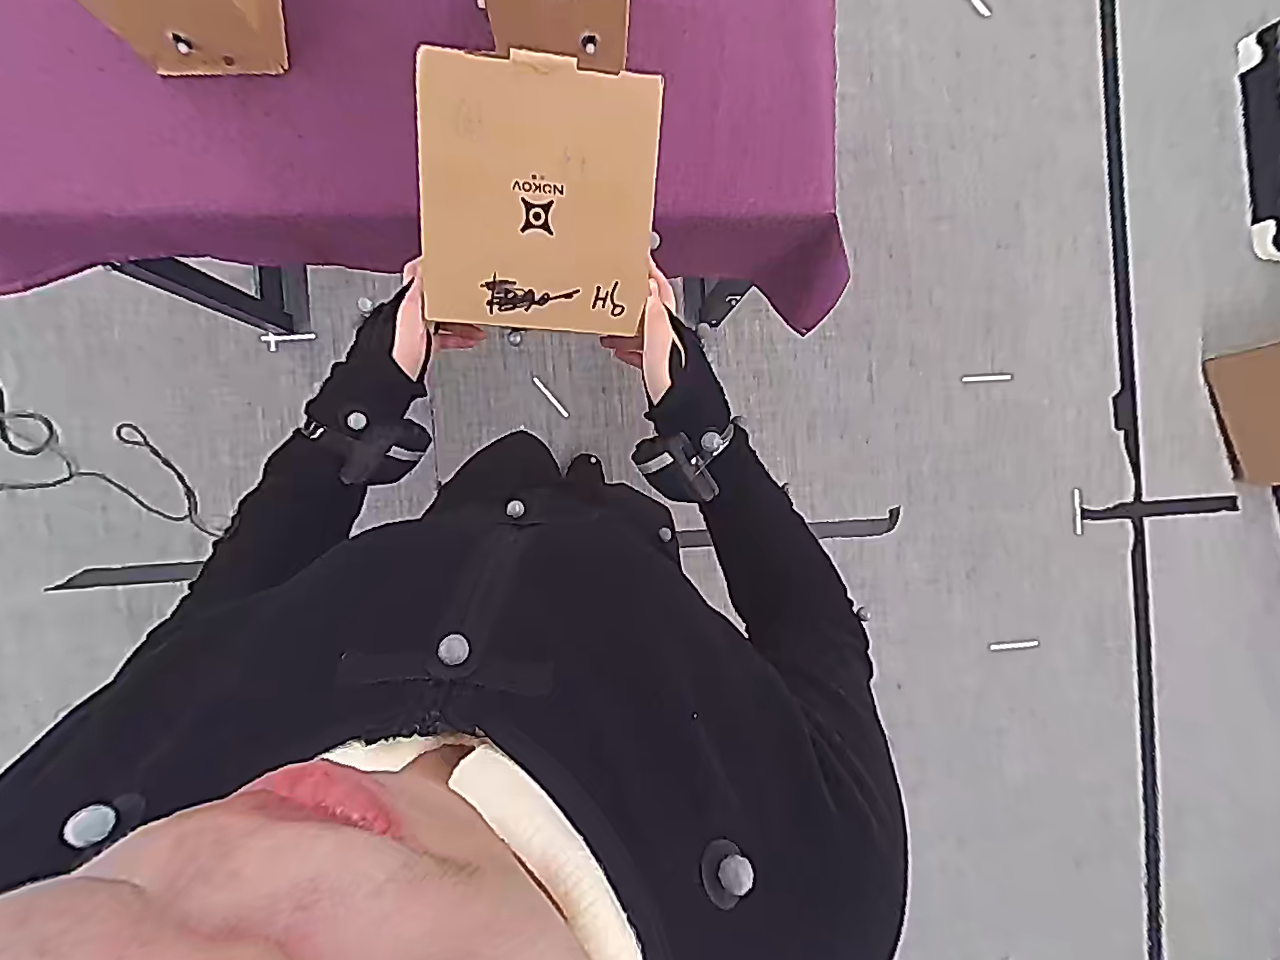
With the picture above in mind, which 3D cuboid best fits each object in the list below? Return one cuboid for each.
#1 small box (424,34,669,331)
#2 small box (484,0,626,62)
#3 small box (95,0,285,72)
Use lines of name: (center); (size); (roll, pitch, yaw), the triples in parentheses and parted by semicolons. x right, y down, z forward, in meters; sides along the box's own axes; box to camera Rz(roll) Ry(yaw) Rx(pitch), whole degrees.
small box: (-0.075, -0.224, 0.459); (0.168, 0.176, 0.179); (4, 106, -5)
small box: (-0.103, -0.630, 0.669); (0.168, 0.176, 0.179); (-4, 92, -5)
small box: (-0.551, -0.626, 0.632); (0.168, 0.176, 0.179); (-5, 93, -5)
